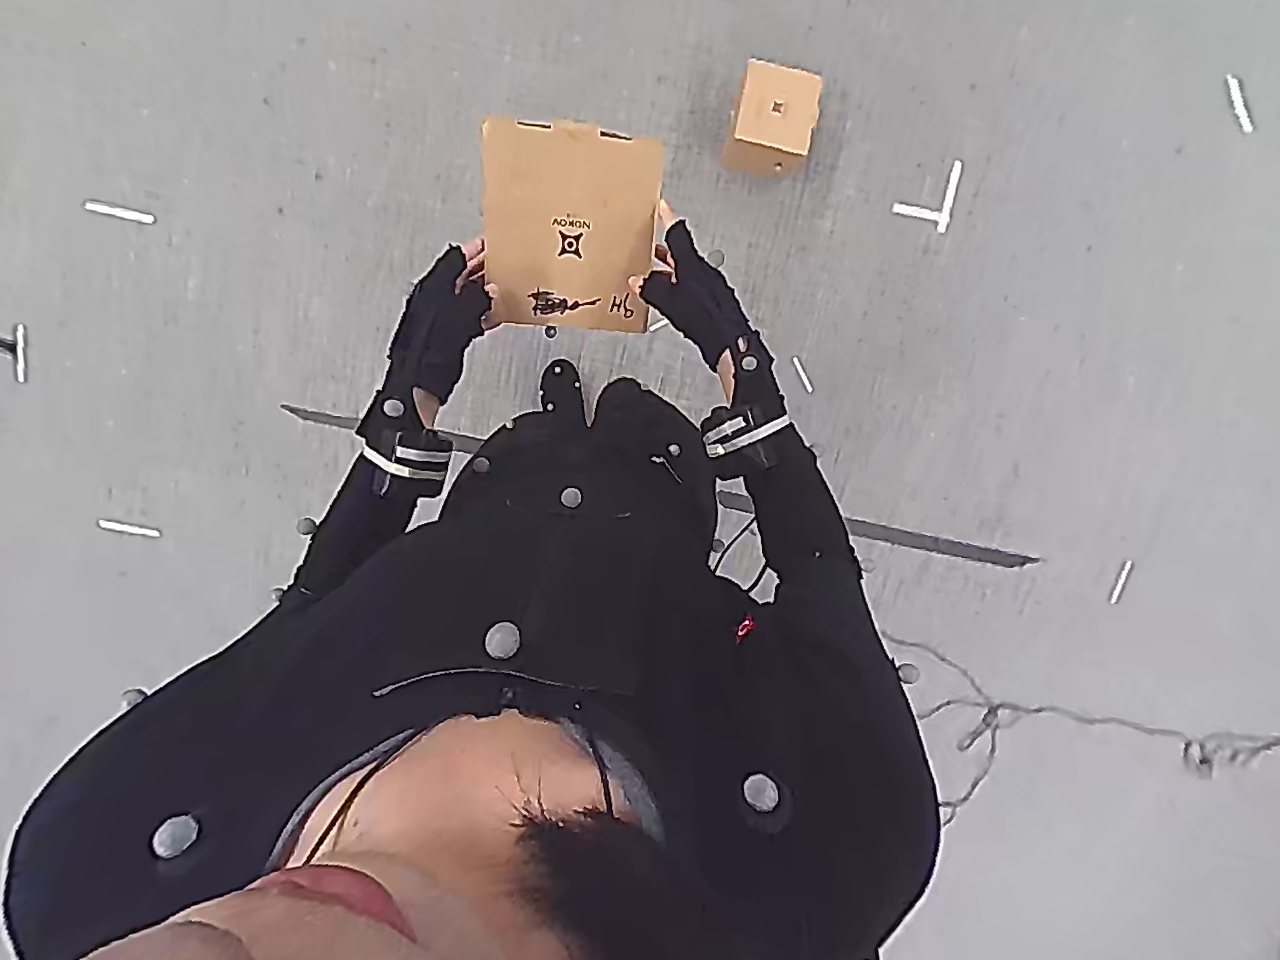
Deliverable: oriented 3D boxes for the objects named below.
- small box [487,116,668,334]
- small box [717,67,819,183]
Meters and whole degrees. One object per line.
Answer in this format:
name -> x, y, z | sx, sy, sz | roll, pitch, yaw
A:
small box -> -0.074, -0.268, 0.595 | 0.168, 0.176, 0.179 | 3, 113, -9
small box -> 0.298, -0.835, 1.294 | 0.179, 0.176, 0.168 | 10, 100, -5
